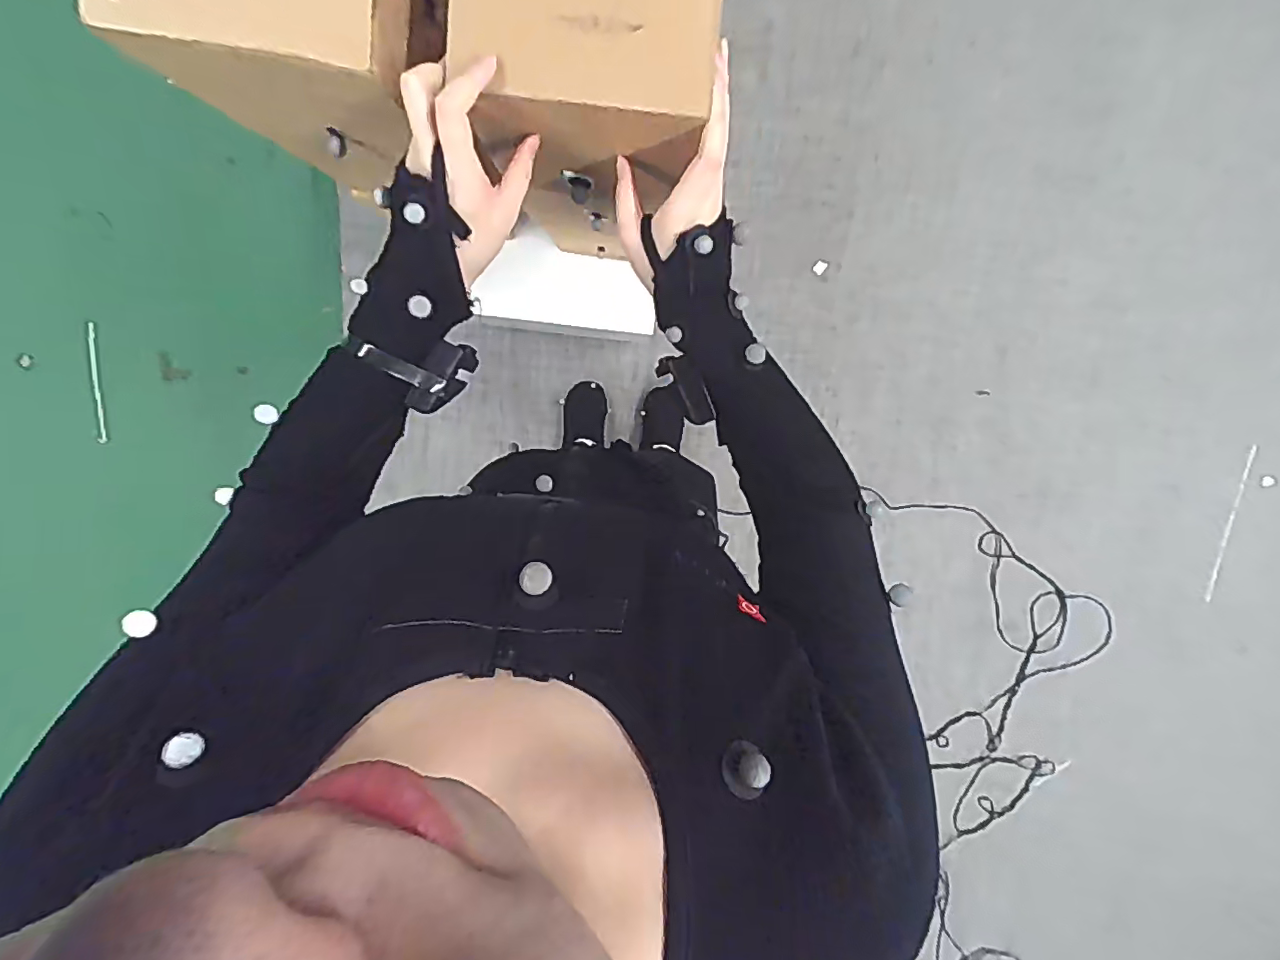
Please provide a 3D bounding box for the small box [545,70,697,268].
[{"bbox_3d":[-0.025,-0.401,0.729,0.168,0.176,0.179,8,103,-1],"label":"small box"}]

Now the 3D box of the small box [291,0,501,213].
[{"bbox_3d":[-0.246,-0.401,0.558,0.168,0.176,0.179,7,102,-3],"label":"small box"}]

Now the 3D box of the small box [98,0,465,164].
[{"bbox_3d":[-0.238,-0.358,0.399,0.179,0.176,0.168,7,102,-4],"label":"small box"}]

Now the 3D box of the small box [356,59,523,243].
[{"bbox_3d":[-0.255,-0.433,0.719,0.168,0.176,0.179,6,103,-3],"label":"small box"}]
